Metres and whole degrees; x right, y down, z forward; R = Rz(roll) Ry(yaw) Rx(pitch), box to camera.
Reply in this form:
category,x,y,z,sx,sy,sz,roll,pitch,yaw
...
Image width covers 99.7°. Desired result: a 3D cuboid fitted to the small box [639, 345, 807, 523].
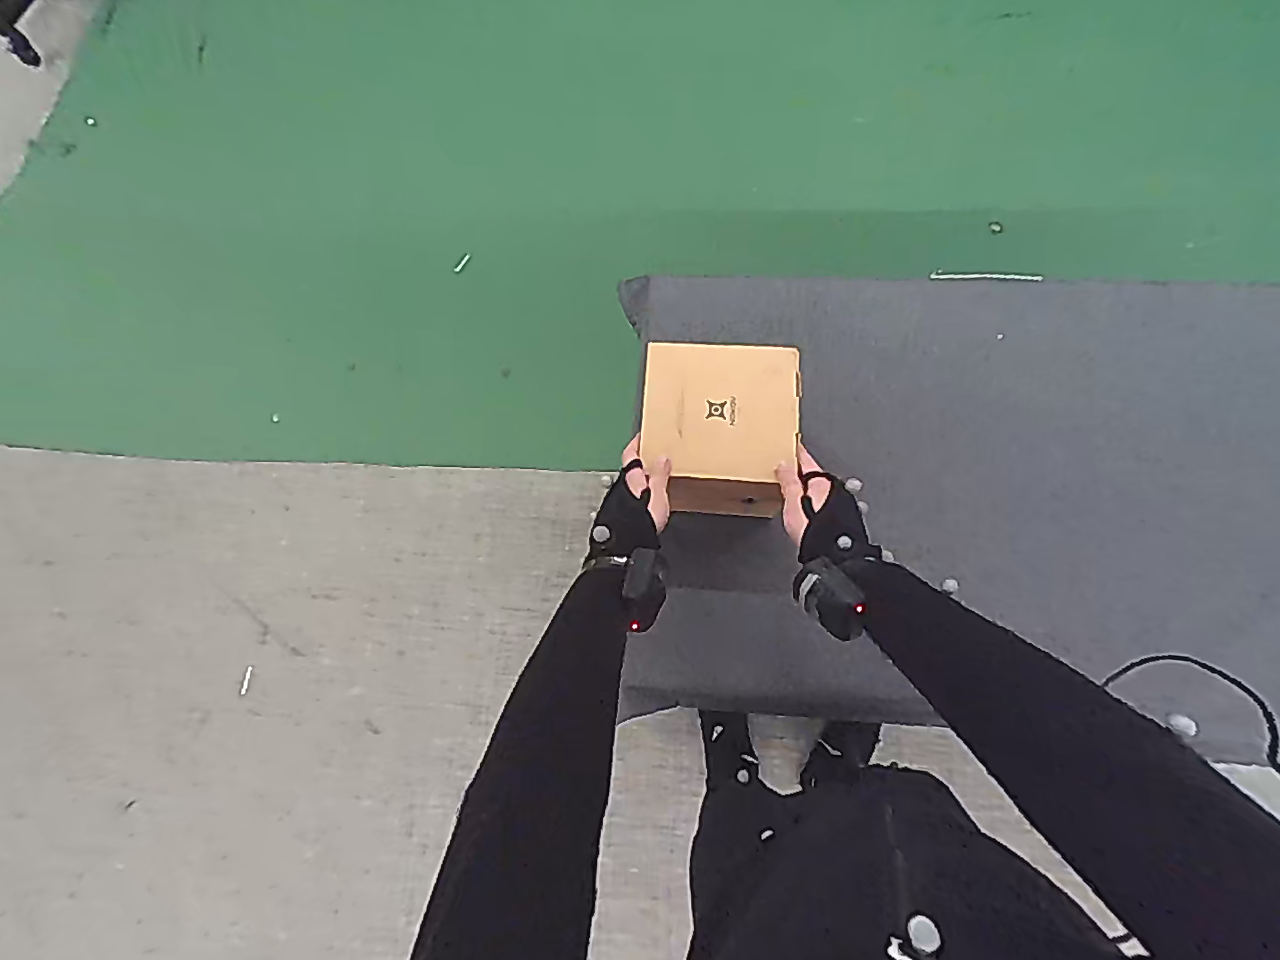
category,x,y,z,sx,sy,sz,roll,pitch,yaw
small box,0.099,-0.047,0.674,0.179,0.176,0.168,5,73,5
